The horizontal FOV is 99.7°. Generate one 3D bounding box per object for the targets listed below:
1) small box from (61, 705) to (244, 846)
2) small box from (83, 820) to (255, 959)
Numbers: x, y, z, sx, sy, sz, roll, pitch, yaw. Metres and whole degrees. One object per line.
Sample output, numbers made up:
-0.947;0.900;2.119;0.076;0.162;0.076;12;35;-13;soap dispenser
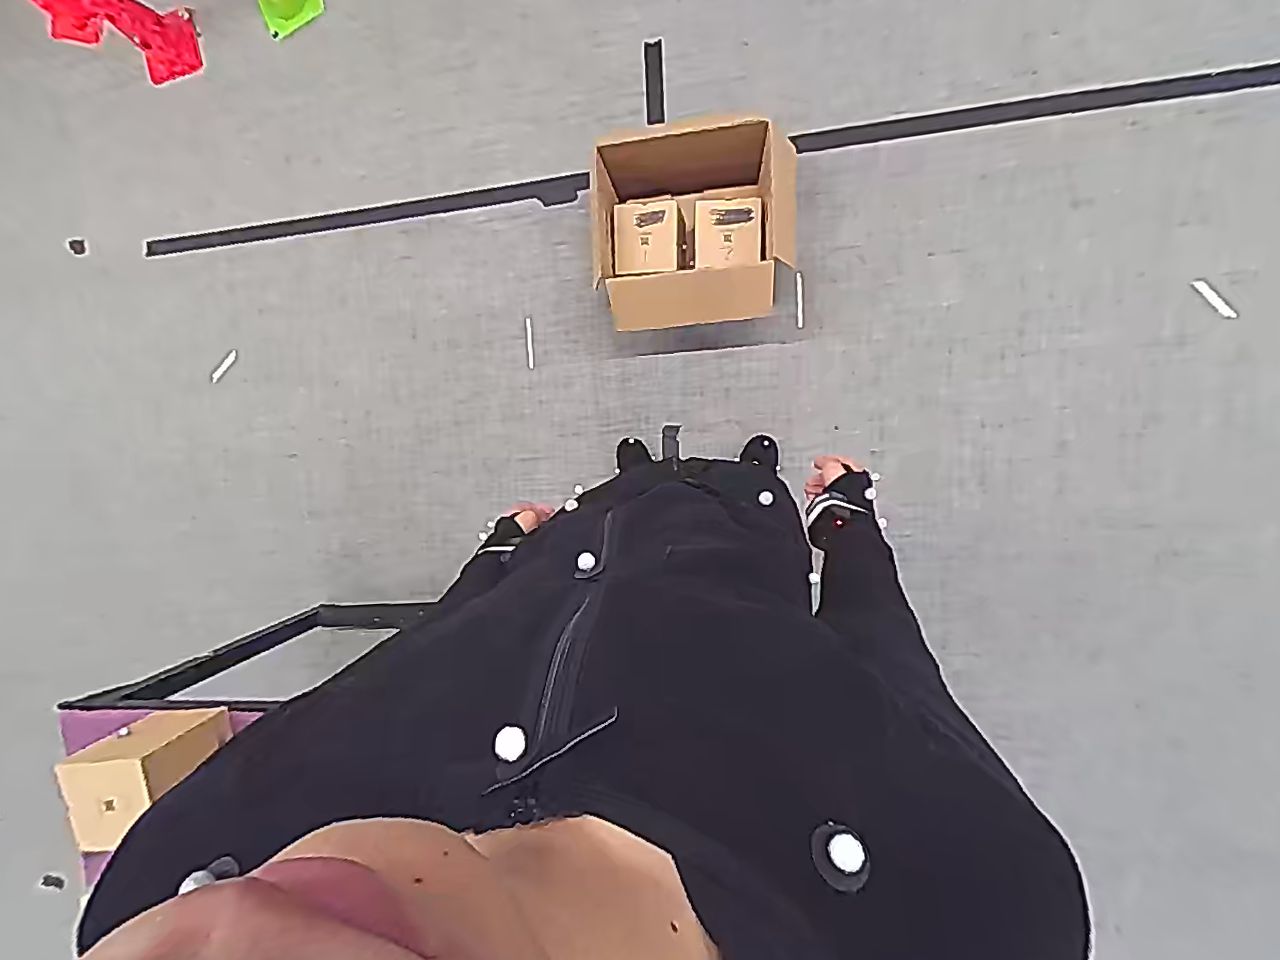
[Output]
-0.892;0.539;1.003;0.179;0.176;0.168;-7;96;10;small box
-0.872;0.777;1.023;0.179;0.176;0.168;-9;94;10;small box
